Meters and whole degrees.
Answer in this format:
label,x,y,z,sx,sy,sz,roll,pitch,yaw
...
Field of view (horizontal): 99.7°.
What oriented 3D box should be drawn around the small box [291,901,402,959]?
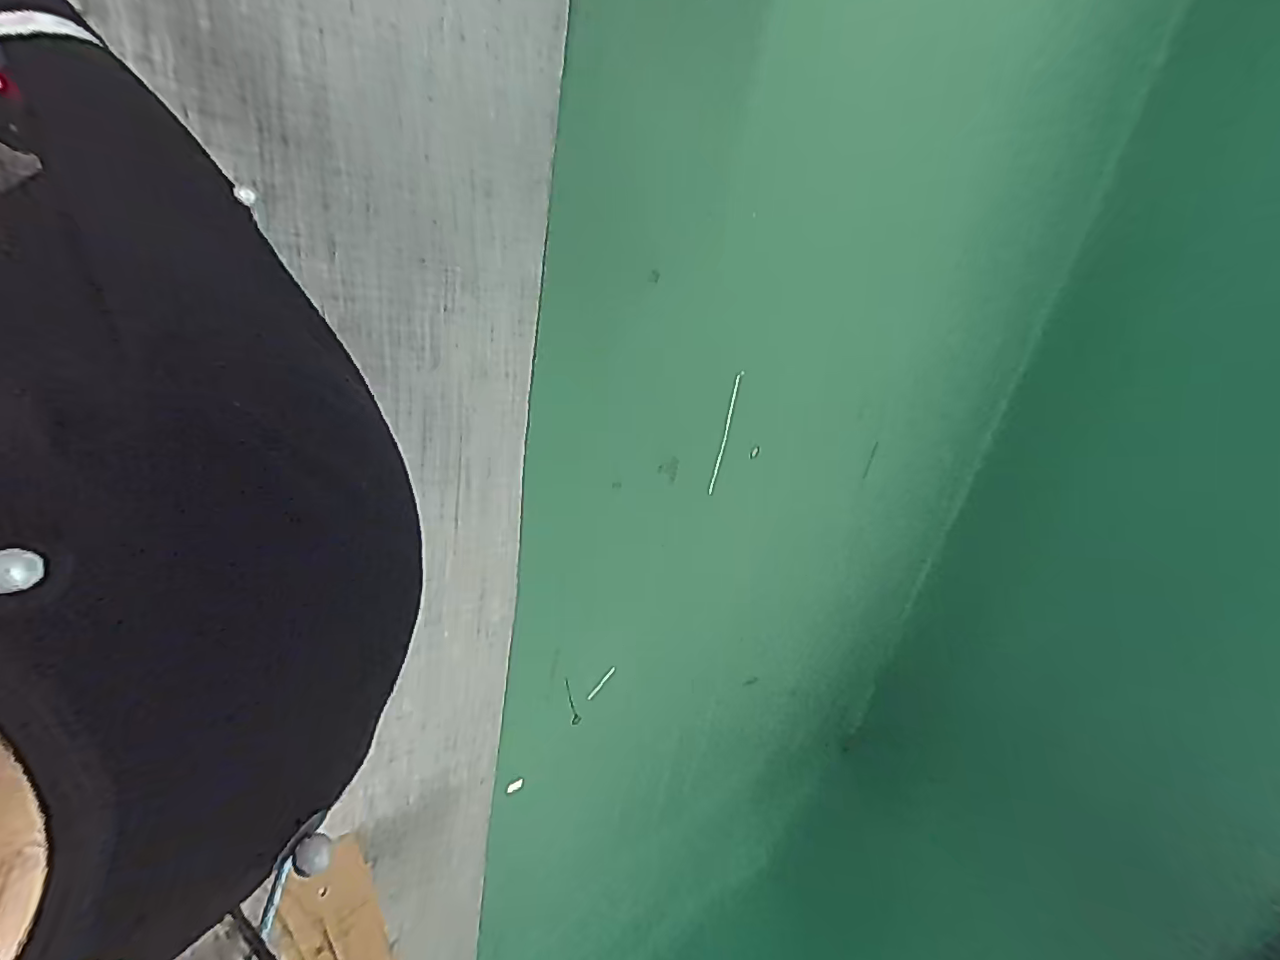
label,x,y,z,sx,sy,sz,roll,pitch,yaw
small box,-0.569,0.995,1.075,0.168,0.176,0.179,-21,128,-34
